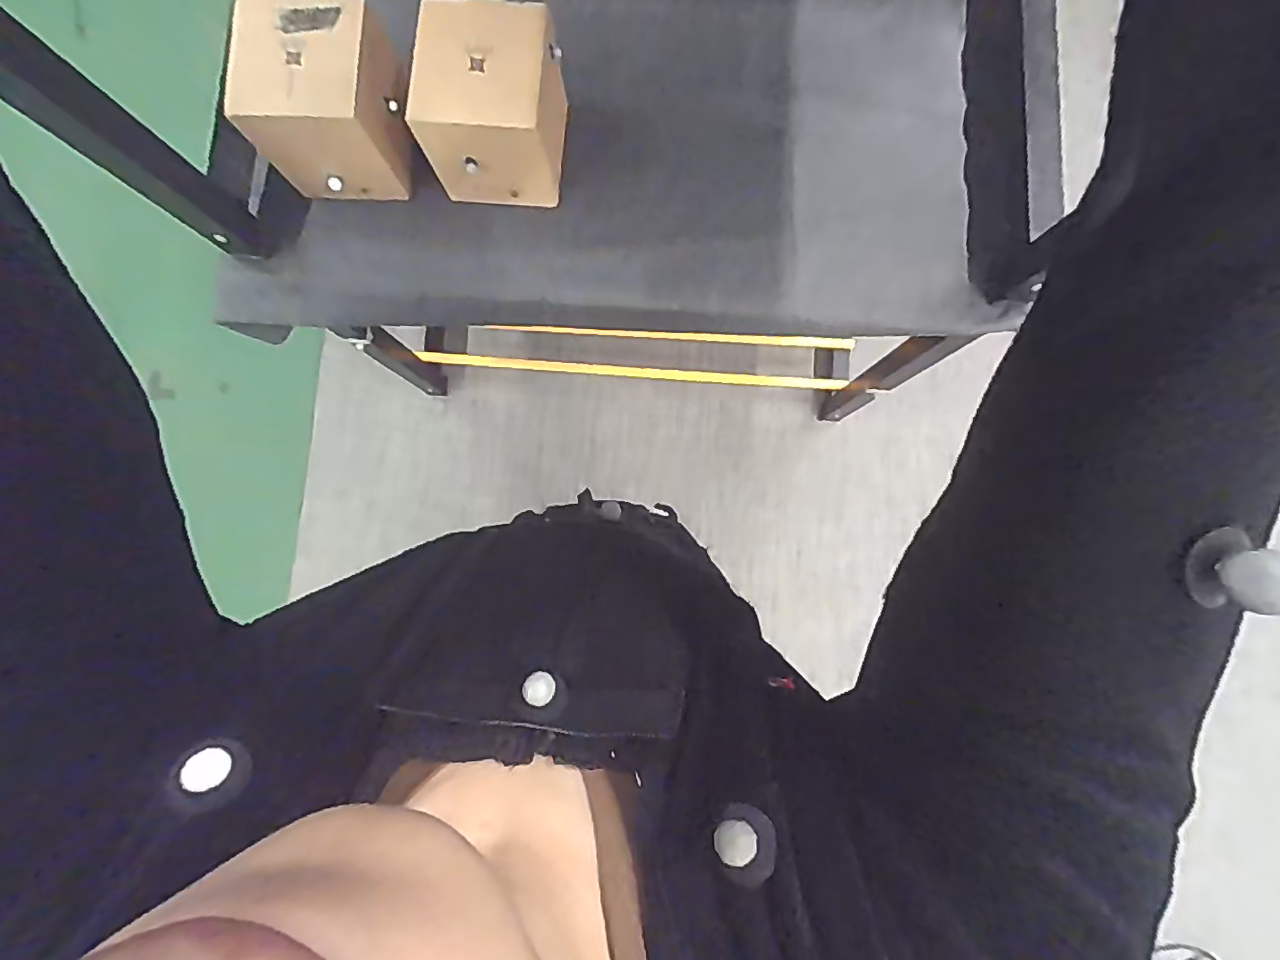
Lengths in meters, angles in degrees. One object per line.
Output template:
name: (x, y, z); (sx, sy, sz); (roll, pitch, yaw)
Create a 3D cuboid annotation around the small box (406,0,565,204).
small box: (-0.201, -0.515, 0.753); (0.168, 0.176, 0.179); (4, 83, 1)

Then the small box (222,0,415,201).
small box: (-0.428, -0.524, 0.752); (0.168, 0.176, 0.179); (2, 84, 0)
